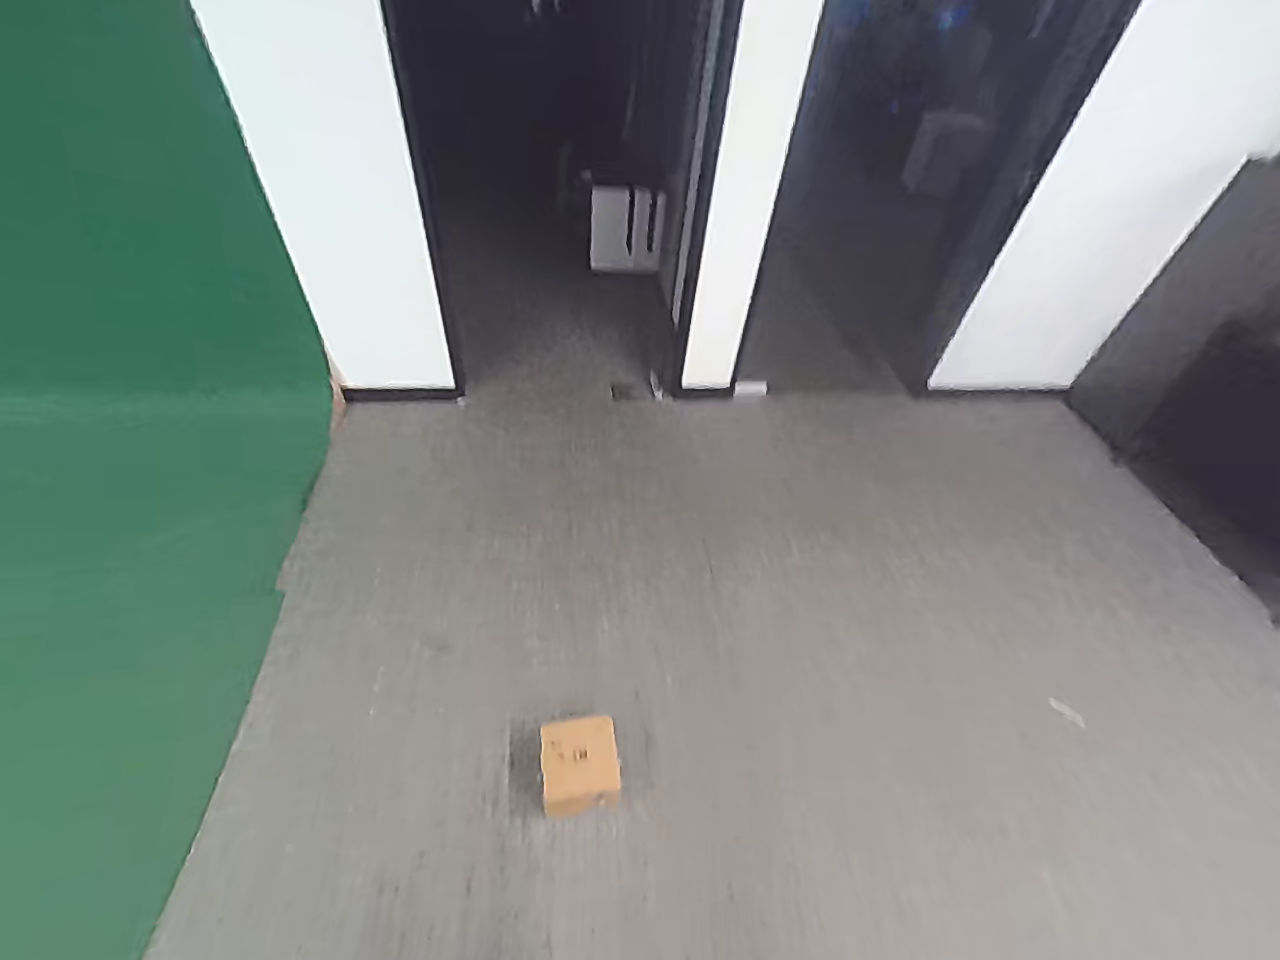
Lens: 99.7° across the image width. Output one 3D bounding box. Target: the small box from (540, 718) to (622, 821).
[{"bbox_3d":[-0.146,0.695,1.297,0.179,0.176,0.168,-4,46,-10],"label":"small box"}]
